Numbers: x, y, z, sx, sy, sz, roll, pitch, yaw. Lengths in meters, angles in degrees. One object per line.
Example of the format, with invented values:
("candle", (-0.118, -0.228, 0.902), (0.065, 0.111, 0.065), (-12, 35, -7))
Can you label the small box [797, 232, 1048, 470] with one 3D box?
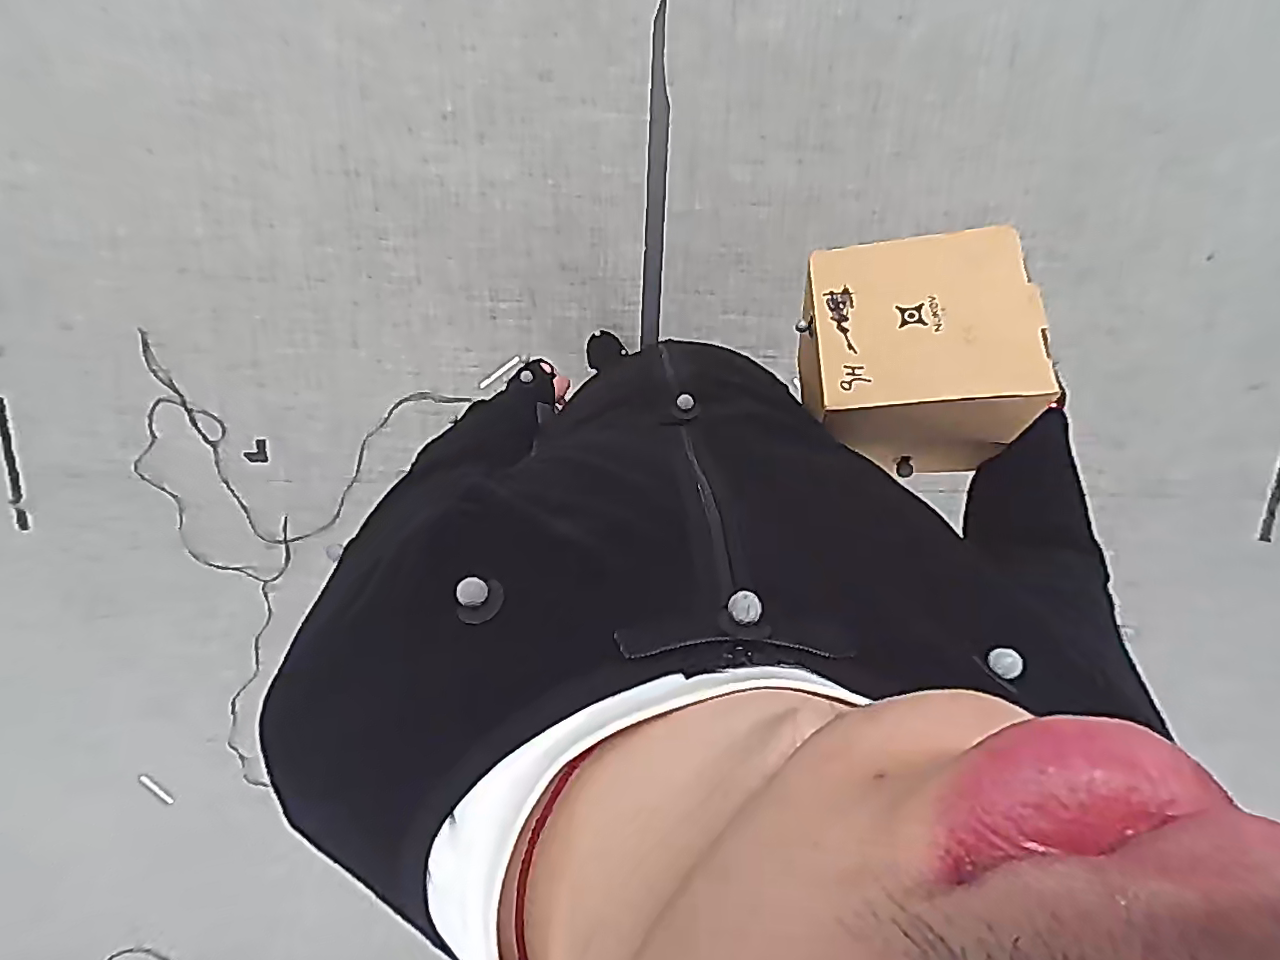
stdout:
("small box", (0.260, -0.116, 0.547), (0.179, 0.176, 0.168), (-2, 69, 11))
